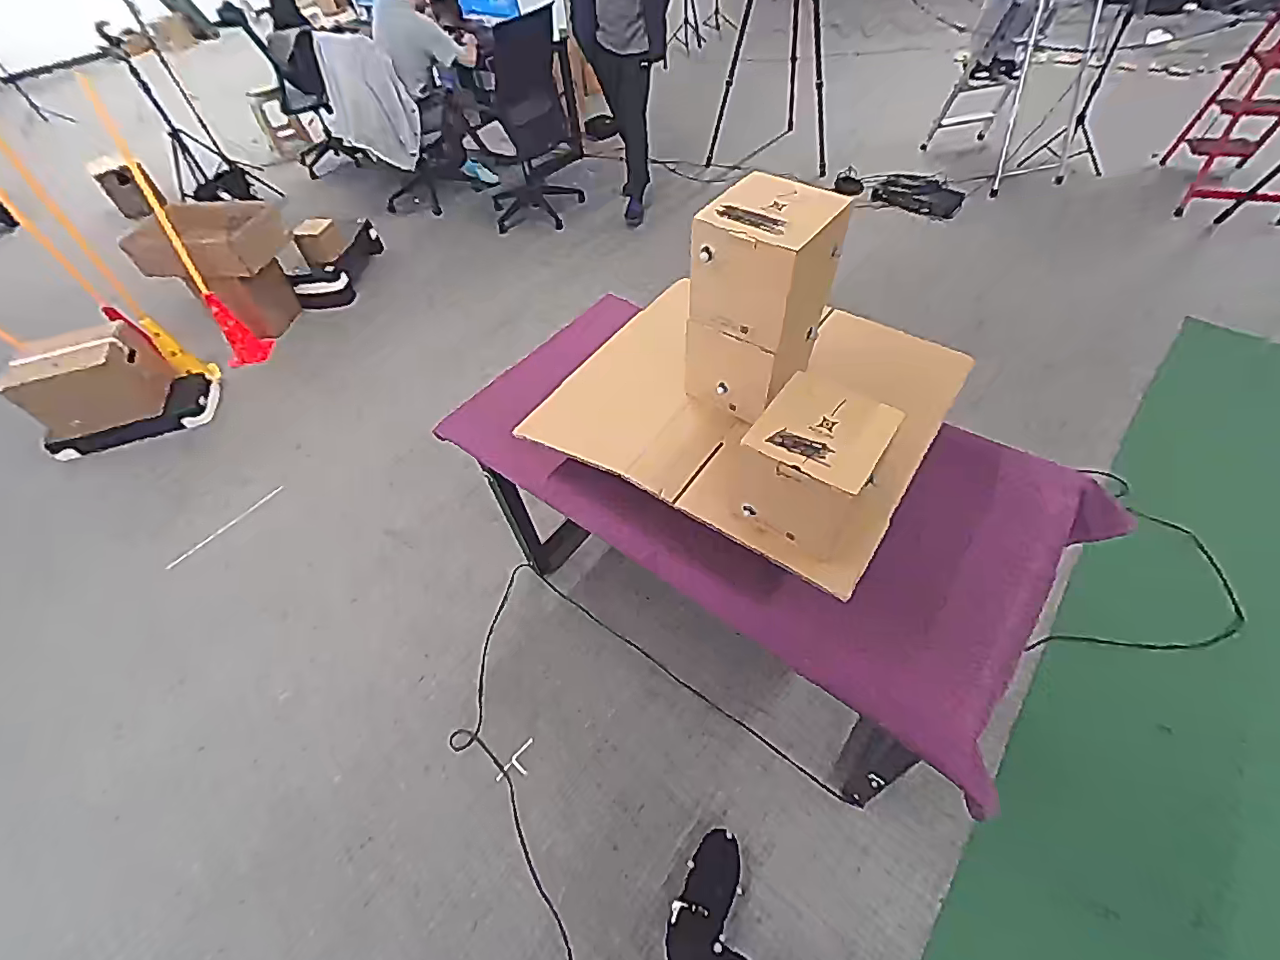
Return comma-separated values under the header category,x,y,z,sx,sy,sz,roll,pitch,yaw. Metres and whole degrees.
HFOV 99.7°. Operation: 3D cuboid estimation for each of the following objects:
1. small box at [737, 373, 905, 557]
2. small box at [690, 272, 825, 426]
category,x,y,z,sx,sy,sz,roll,pitch,yaw
small box,0.254,-0.019,0.793,0.168,0.176,0.179,29,59,23
small box,0.197,-0.230,0.957,0.168,0.176,0.179,30,61,23
